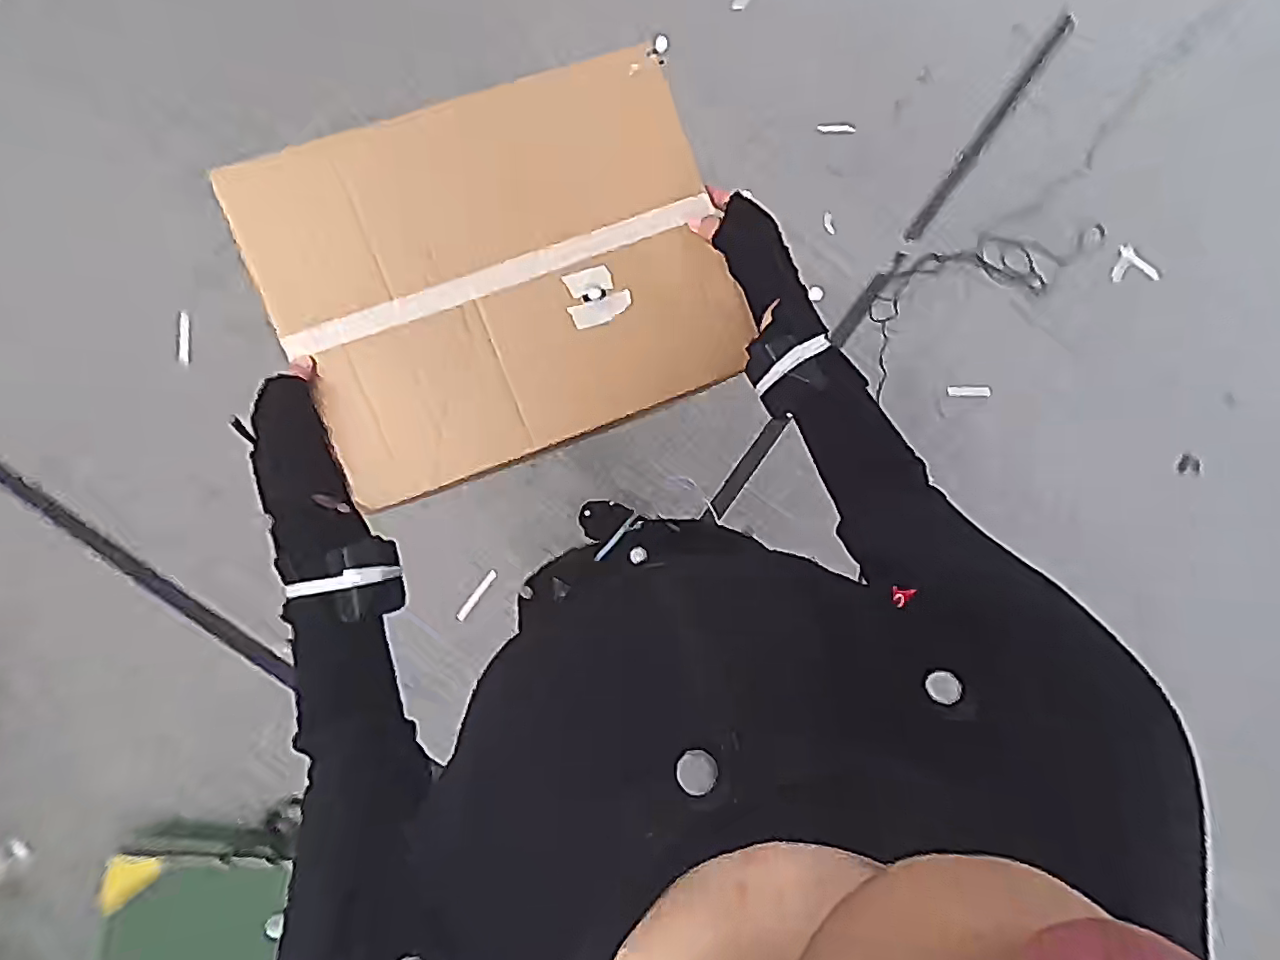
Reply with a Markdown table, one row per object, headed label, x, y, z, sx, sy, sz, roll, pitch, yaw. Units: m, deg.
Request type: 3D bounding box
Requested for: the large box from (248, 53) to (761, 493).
| label | x | y | z | sx | sy | sz | roll | pitch | yaw |
| --- | --- | --- | --- | --- | --- | --- | --- | --- | --- |
| large box | -0.132 | -0.203 | 0.653 | 0.408 | 0.320 | 0.320 | -20 | 96 | -7 |
